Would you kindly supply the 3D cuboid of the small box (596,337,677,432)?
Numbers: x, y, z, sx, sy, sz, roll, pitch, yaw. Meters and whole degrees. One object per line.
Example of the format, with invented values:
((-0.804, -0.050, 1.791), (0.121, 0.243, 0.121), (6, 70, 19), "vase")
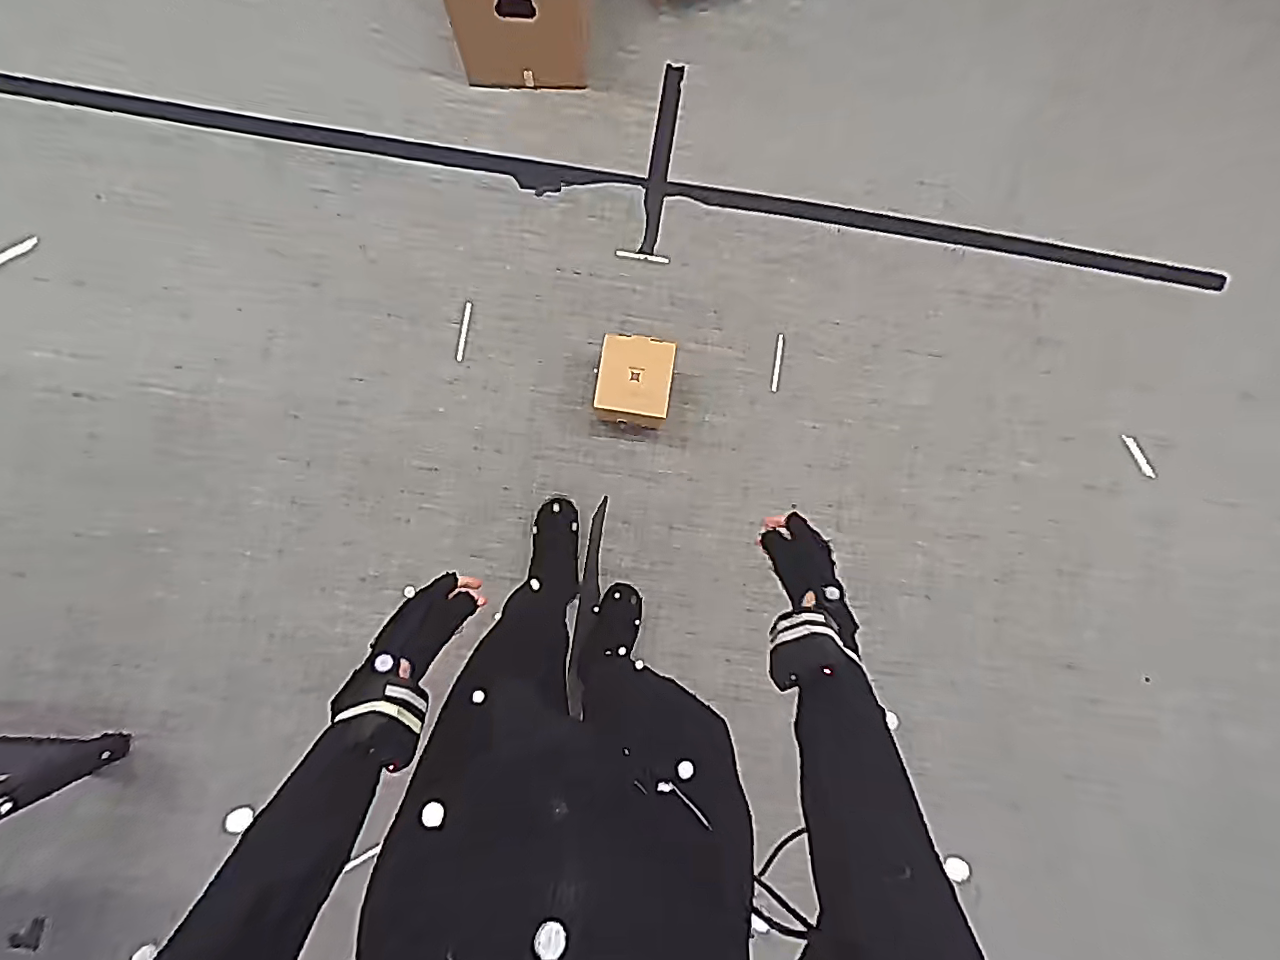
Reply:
((-0.012, -0.222, 1.298), (0.168, 0.176, 0.179), (8, 86, -2), "small box")
